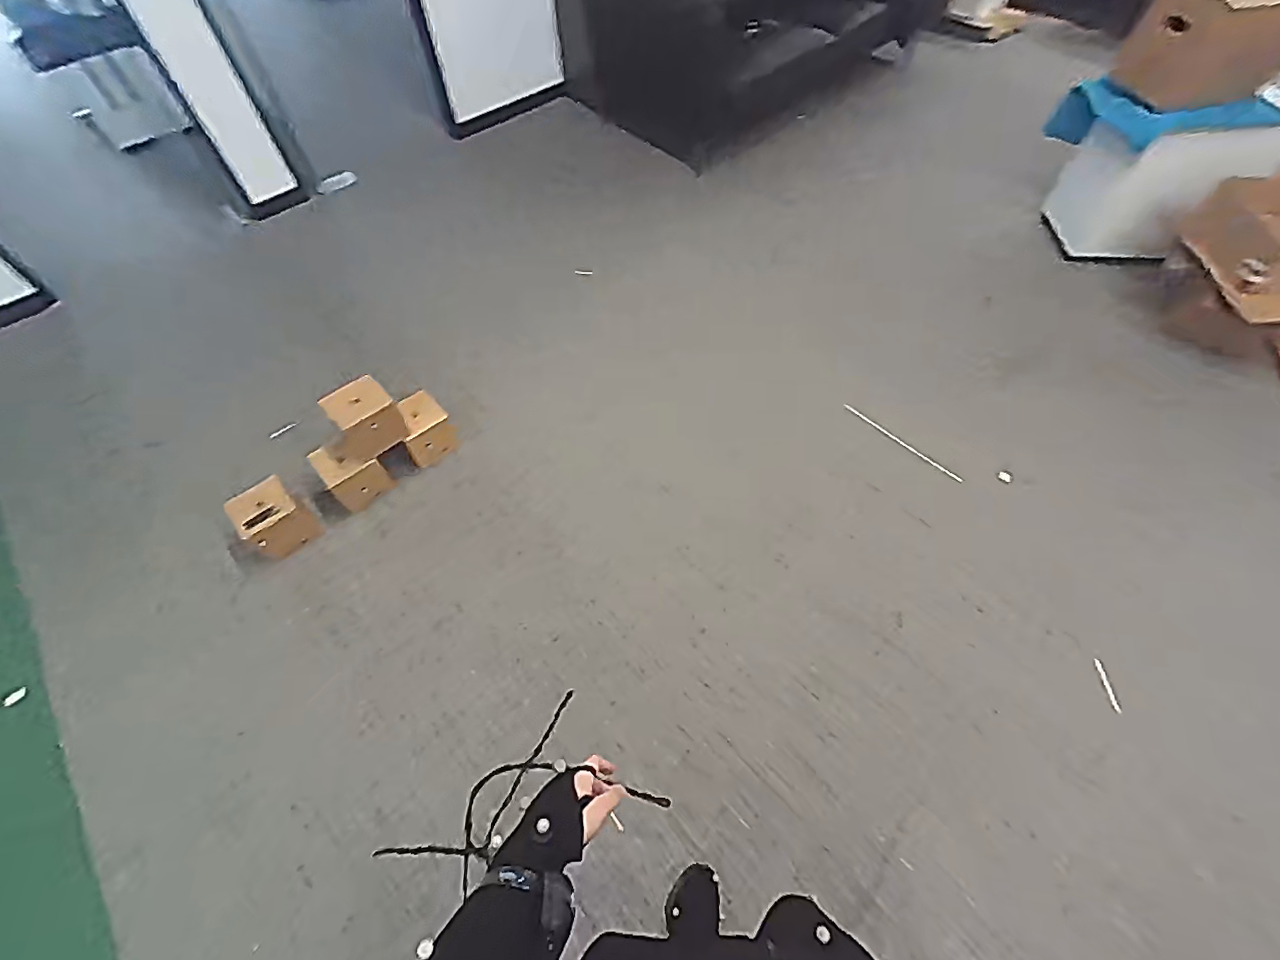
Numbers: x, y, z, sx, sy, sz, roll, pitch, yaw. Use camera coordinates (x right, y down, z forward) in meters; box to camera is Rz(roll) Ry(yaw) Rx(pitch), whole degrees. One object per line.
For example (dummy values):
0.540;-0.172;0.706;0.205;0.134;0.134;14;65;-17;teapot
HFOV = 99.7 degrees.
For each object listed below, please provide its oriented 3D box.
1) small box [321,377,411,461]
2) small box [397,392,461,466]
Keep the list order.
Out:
-0.875;-0.191;1.742;0.179;0.176;0.168;-38;64;-24;small box
-0.768;-0.173;1.925;0.168;0.176;0.179;-37;63;-21;small box
